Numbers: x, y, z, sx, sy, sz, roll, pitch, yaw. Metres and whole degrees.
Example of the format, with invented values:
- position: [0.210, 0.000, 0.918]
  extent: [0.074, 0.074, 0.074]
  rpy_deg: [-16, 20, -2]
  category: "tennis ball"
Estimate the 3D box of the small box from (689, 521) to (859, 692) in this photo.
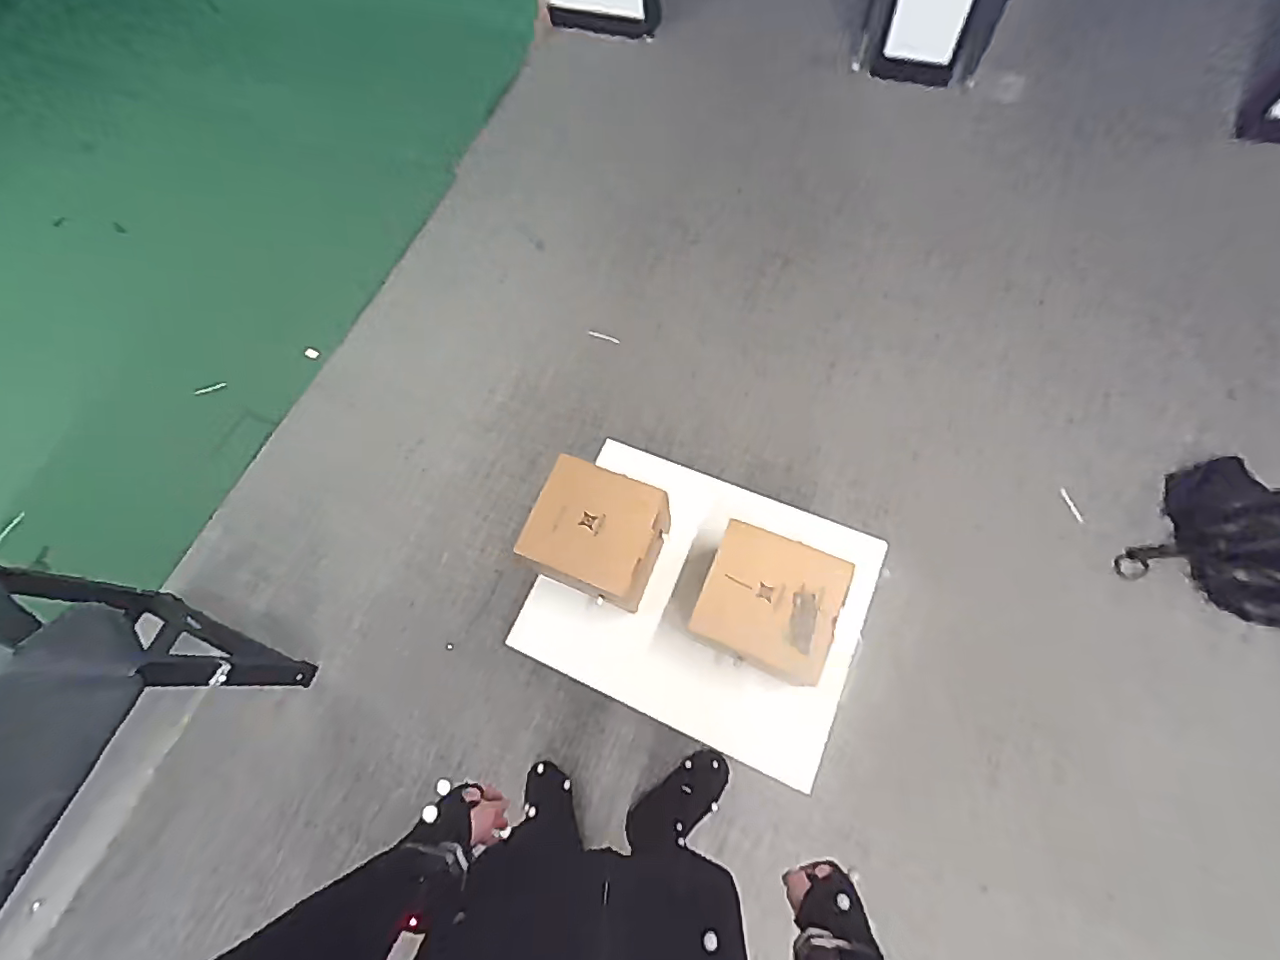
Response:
- position: [0.180, 0.184, 0.770]
  extent: [0.179, 0.176, 0.168]
  rpy_deg: [22, 71, 13]
  category: "small box"

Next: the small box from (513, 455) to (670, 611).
- position: [-0.061, 0.090, 0.830]
  extent: [0.179, 0.176, 0.168]
  rpy_deg: [20, 70, 12]
  category: "small box"
